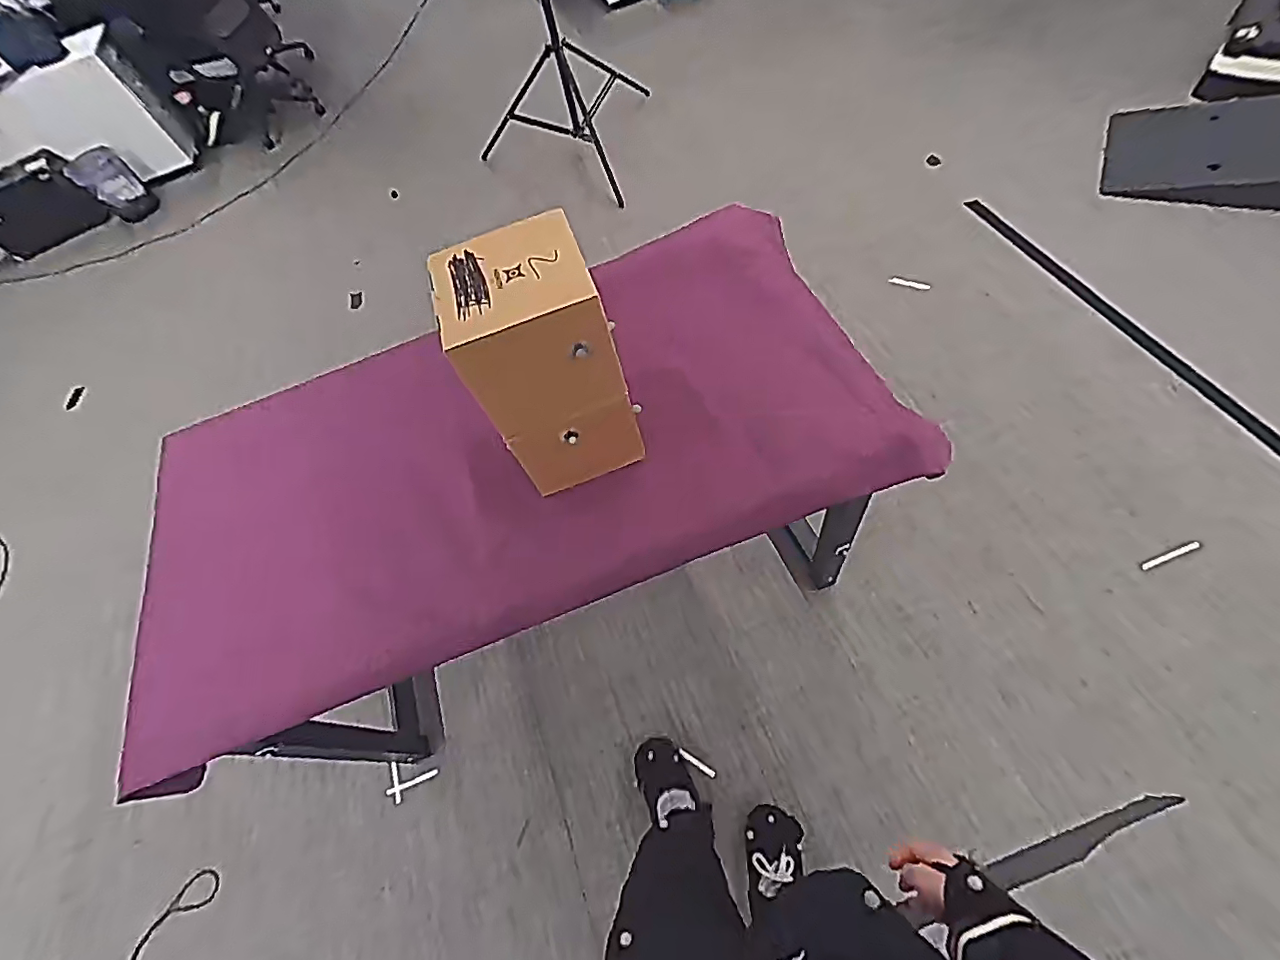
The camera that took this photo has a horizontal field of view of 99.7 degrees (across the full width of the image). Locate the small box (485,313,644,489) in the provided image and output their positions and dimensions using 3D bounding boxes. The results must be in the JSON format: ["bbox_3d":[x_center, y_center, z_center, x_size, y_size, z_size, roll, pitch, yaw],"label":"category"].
[{"bbox_3d":[-0.108,-0.110,0.815,0.179,0.176,0.168,-21,60,-1],"label":"small box"}]
